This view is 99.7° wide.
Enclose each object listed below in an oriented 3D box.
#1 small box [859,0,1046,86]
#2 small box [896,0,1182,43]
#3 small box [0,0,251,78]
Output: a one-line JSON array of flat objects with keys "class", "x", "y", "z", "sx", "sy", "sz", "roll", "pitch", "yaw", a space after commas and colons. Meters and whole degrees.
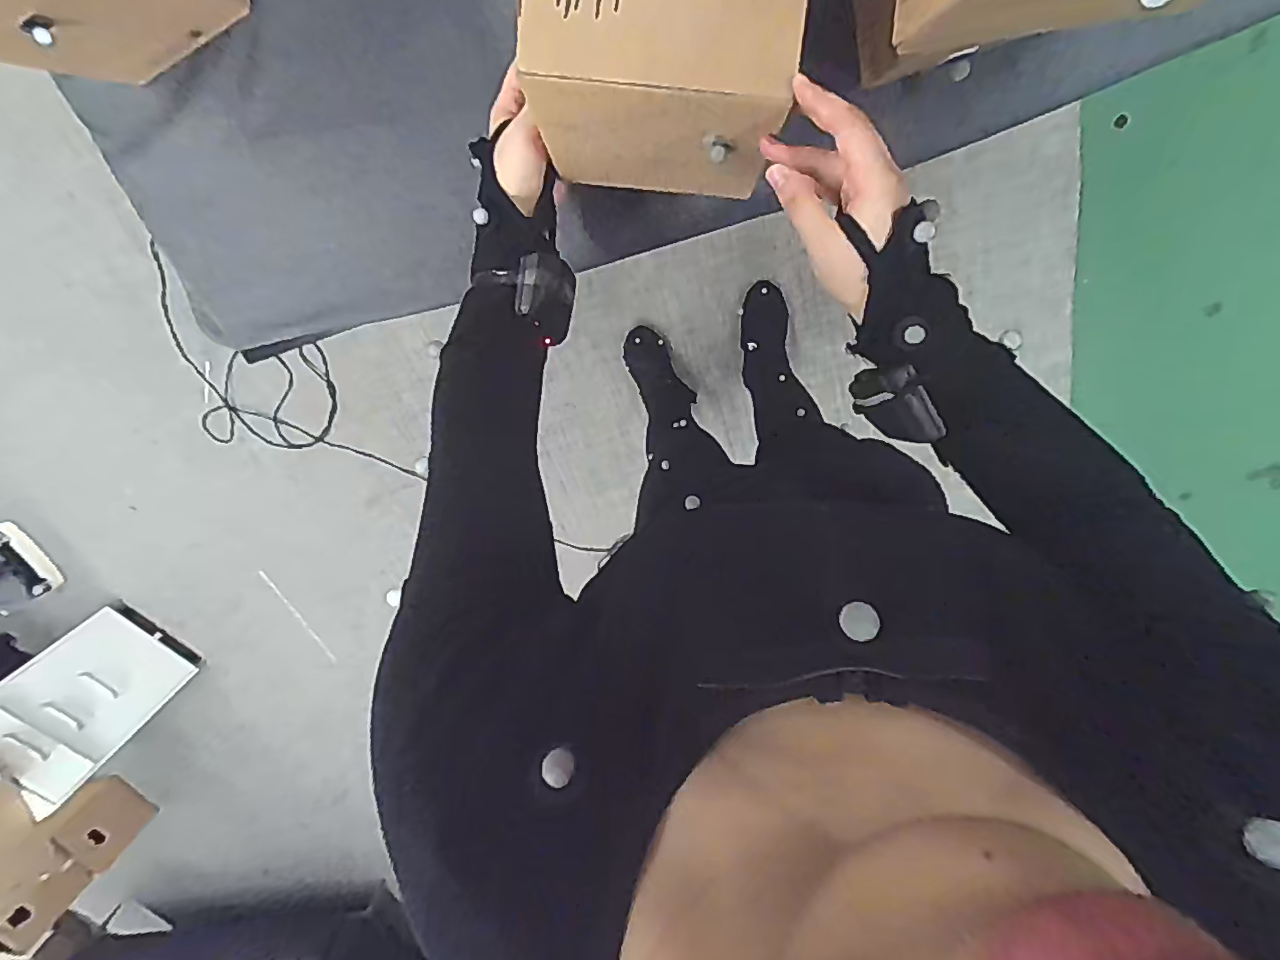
[{"class": "small box", "x": 0.251, "y": -0.411, "z": 0.373, "sx": 0.168, "sy": 0.176, "sz": 0.179, "roll": -12, "pitch": 117, "yaw": 14}, {"class": "small box", "x": 0.236, "y": -0.322, "z": 0.237, "sx": 0.179, "sy": 0.176, "sz": 0.168, "roll": -2, "pitch": 118, "yaw": 10}, {"class": "small box", "x": -0.480, "y": -0.466, "z": 0.434, "sx": 0.168, "sy": 0.176, "sz": 0.179, "roll": -16, "pitch": 116, "yaw": 15}]
